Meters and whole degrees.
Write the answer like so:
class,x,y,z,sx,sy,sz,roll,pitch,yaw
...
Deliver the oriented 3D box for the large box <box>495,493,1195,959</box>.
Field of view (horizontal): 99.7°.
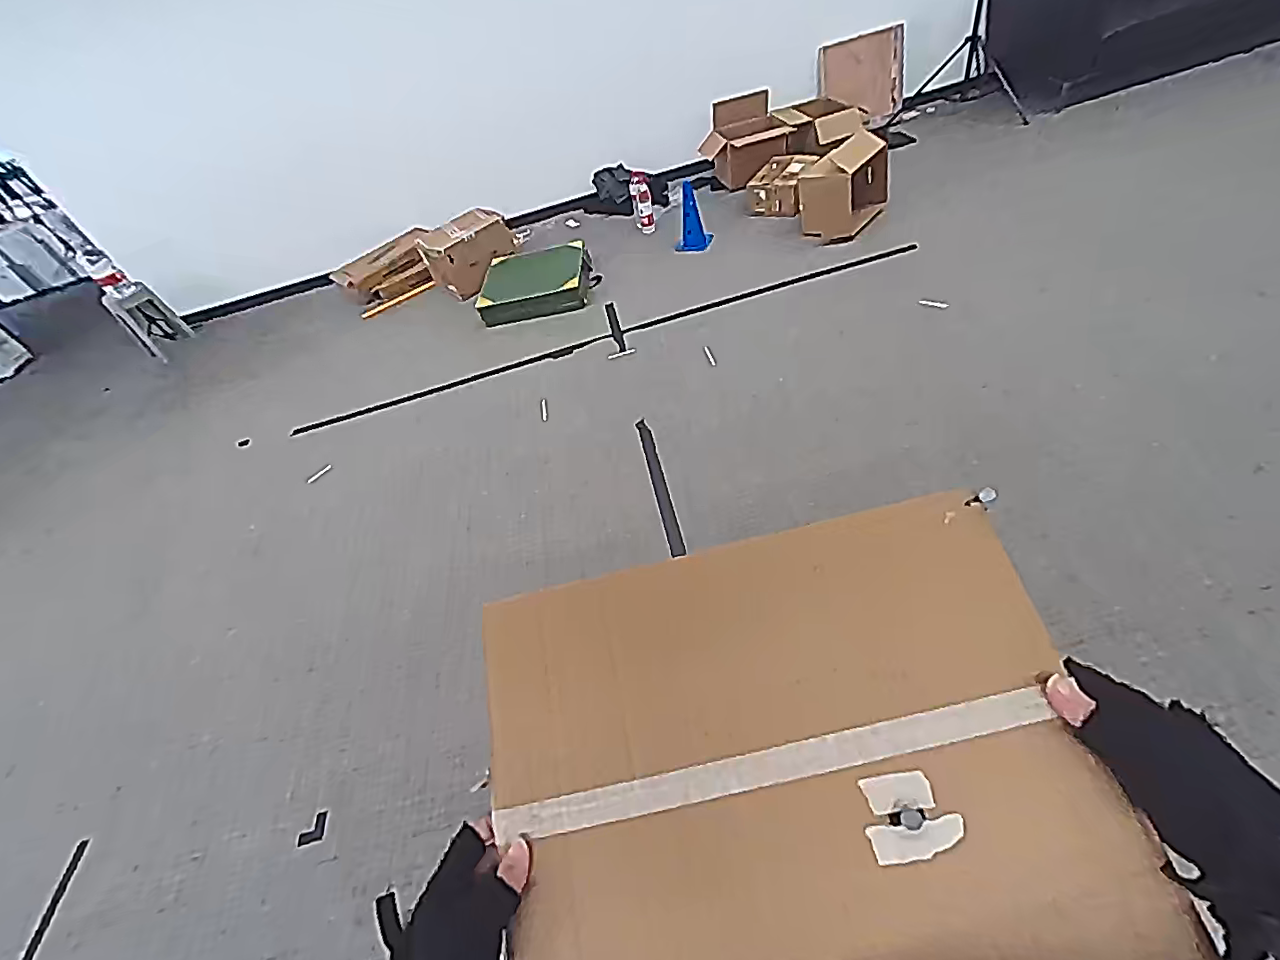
class,x,y,z,sx,sy,sz,roll,pitch,yaw
large box,0.121,0.257,0.517,0.408,0.320,0.320,-15,65,1
